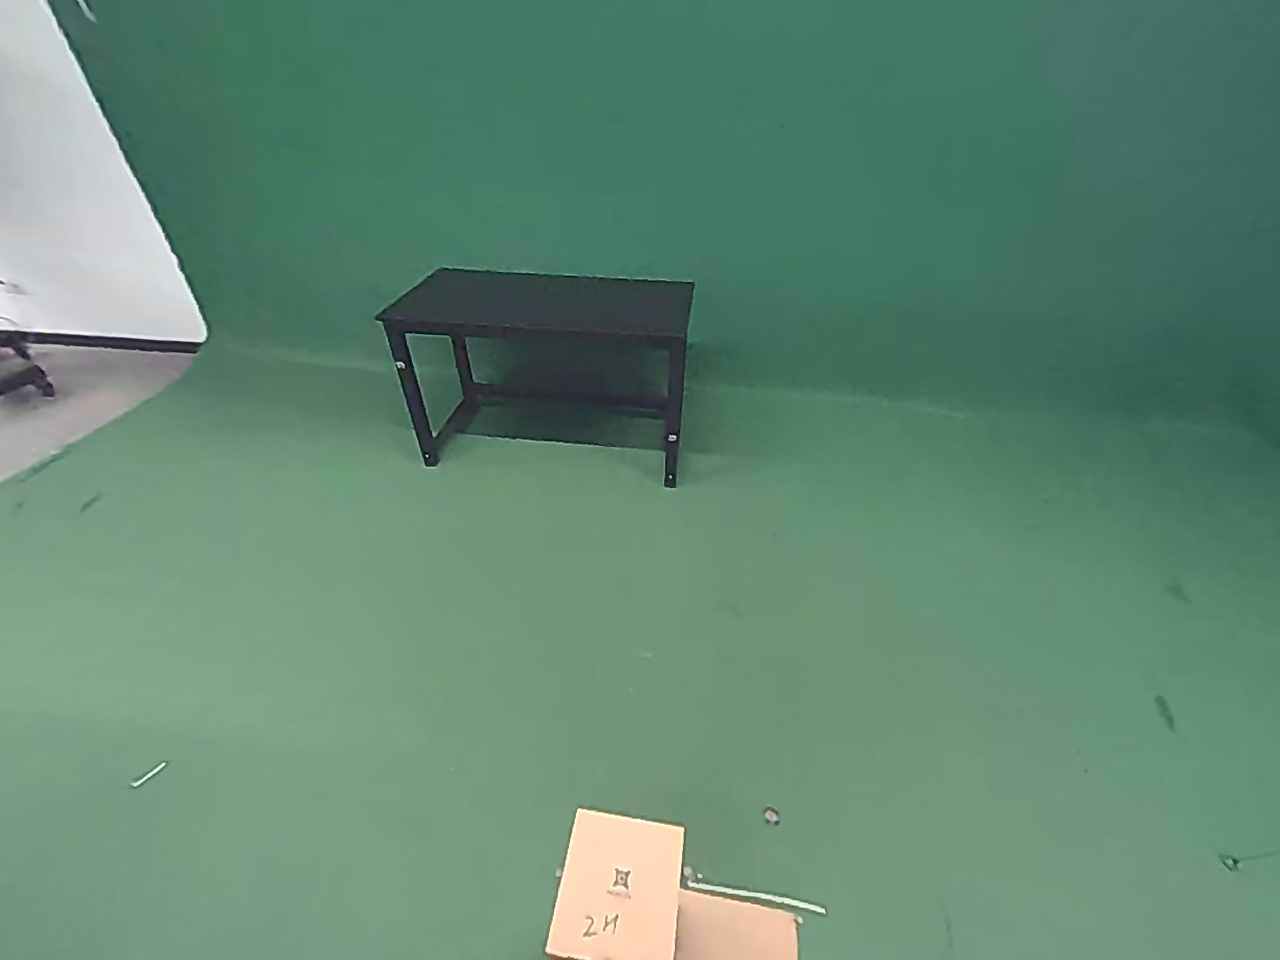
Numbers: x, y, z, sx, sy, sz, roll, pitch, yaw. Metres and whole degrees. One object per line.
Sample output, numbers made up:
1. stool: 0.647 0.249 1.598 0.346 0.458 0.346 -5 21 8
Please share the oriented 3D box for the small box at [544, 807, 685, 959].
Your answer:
1. small box: -0.030 0.616 0.784 0.168 0.176 0.179 6 38 7
